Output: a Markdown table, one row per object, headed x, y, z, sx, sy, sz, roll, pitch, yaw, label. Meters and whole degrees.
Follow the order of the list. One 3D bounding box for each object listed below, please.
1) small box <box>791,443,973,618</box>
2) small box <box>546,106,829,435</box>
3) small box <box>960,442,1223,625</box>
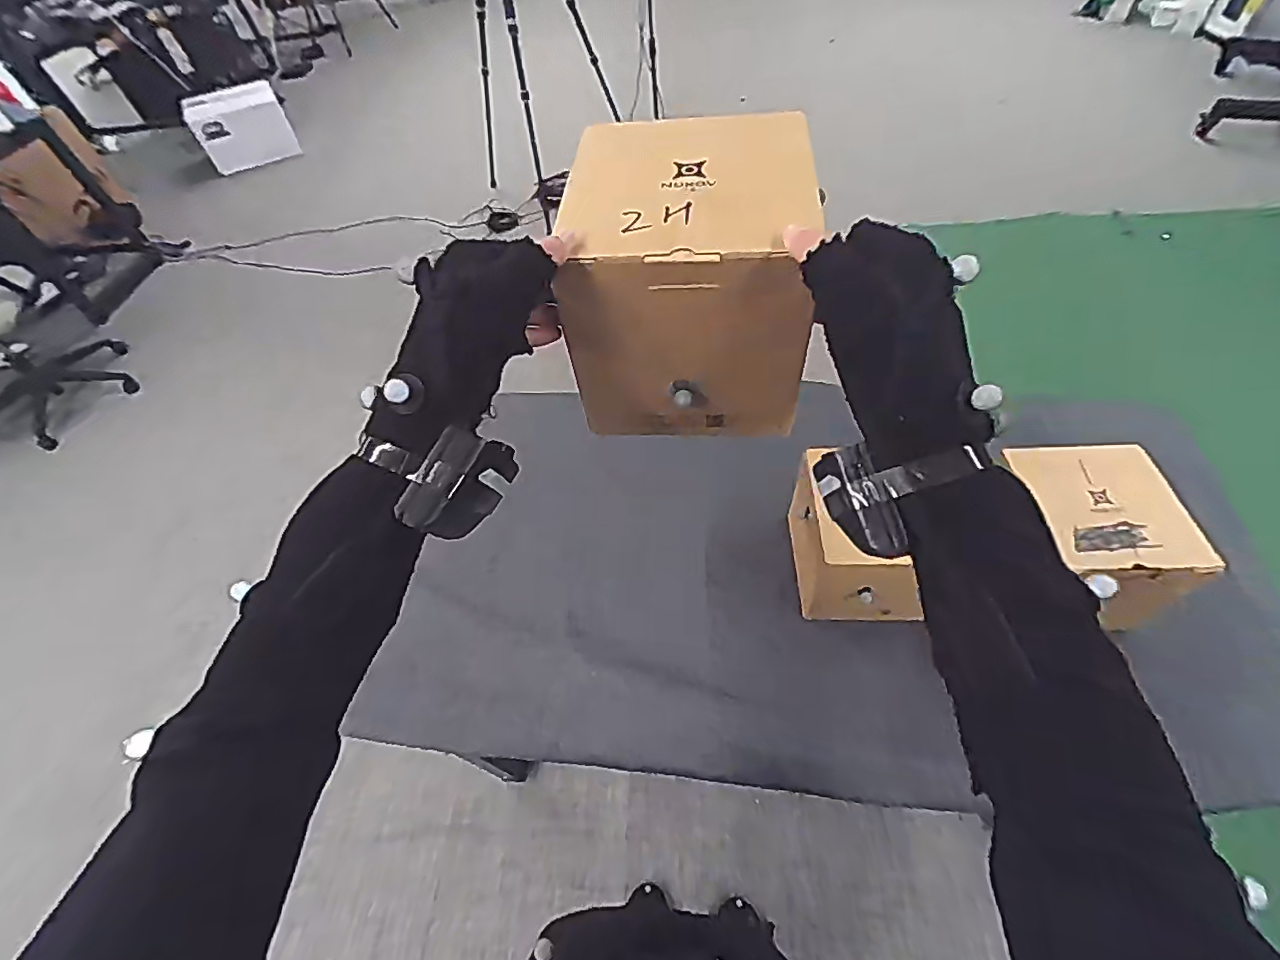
| x | y | z | sx | sy | sz | roll | pitch | yaw | label |
| --- | --- | --- | --- | --- | --- | --- | --- | --- | --- |
| 0.299 | 0.072 | 0.715 | 0.168 | 0.176 | 0.179 | -1 | 52 | 6 | small box |
| 0.040 | -0.157 | 0.420 | 0.168 | 0.176 | 0.179 | 2 | 56 | 8 | small box |
| 0.538 | 0.073 | 0.682 | 0.168 | 0.176 | 0.179 | -2 | 52 | 6 | small box |
